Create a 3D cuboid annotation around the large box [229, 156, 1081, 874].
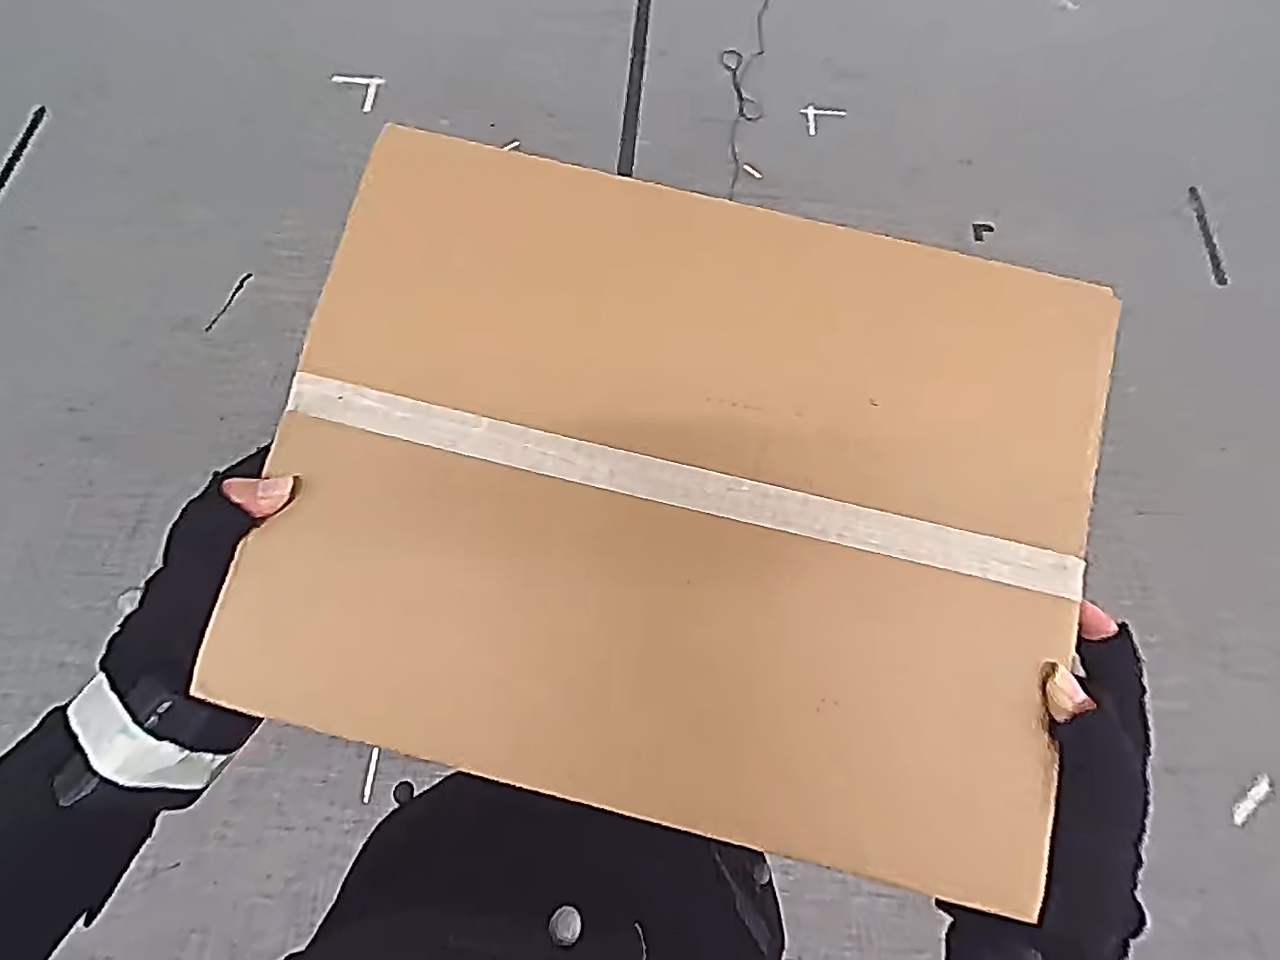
[{"bbox_3d":[0.019,0.022,0.432,0.408,0.320,0.320,14,82,2],"label":"large box"}]
